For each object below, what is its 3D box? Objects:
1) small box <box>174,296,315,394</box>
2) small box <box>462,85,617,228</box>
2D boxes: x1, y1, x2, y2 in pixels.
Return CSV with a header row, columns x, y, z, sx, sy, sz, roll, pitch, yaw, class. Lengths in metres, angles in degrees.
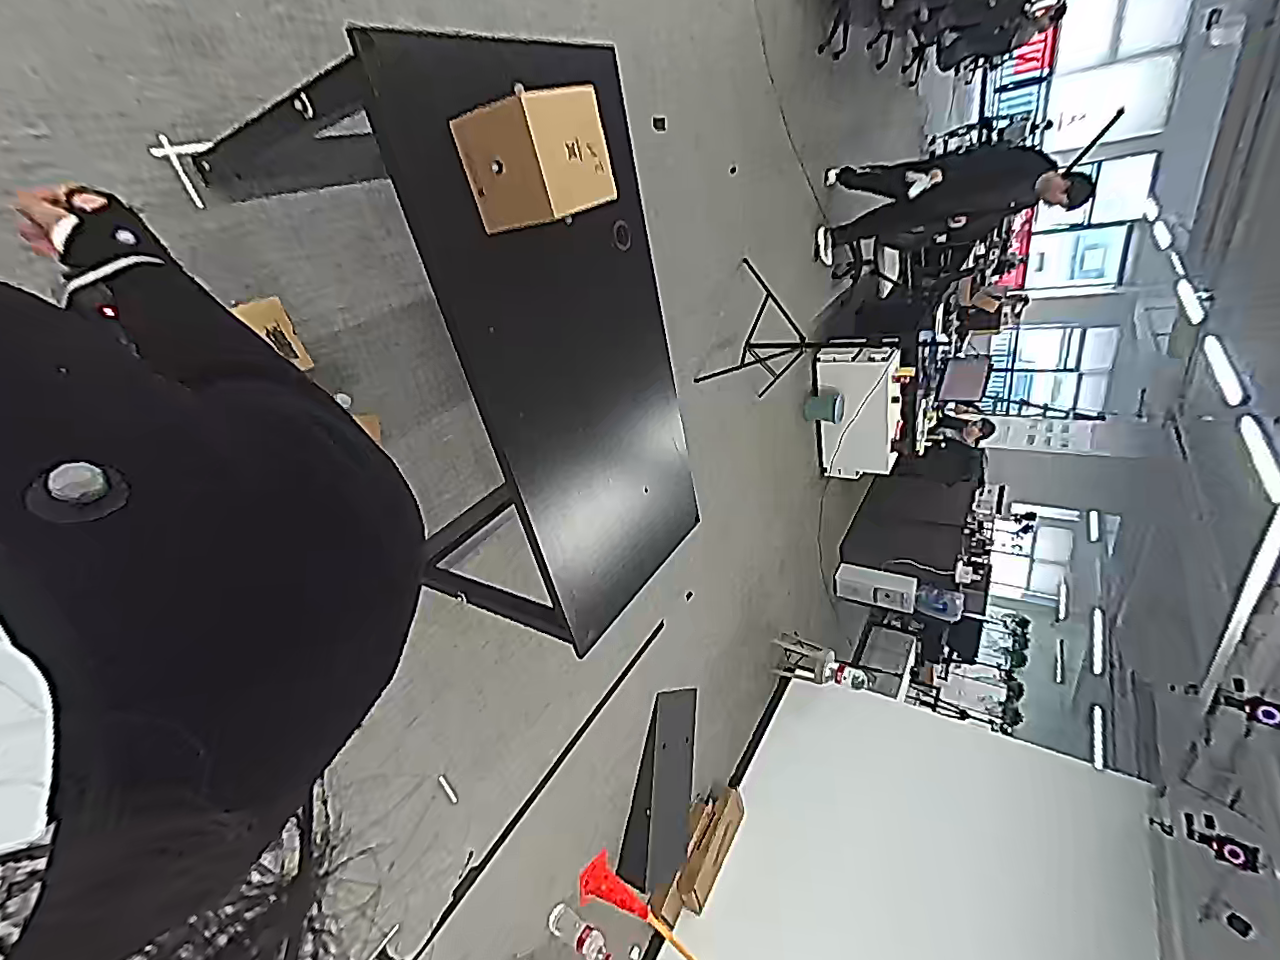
x,y,z,sx,sy,sz,roll,pitch,yaw,class
-0.886,-0.306,1.213,0.179,0.176,0.168,-42,129,-40,small box
-0.170,-0.532,0.900,0.179,0.176,0.168,-45,132,-40,small box
